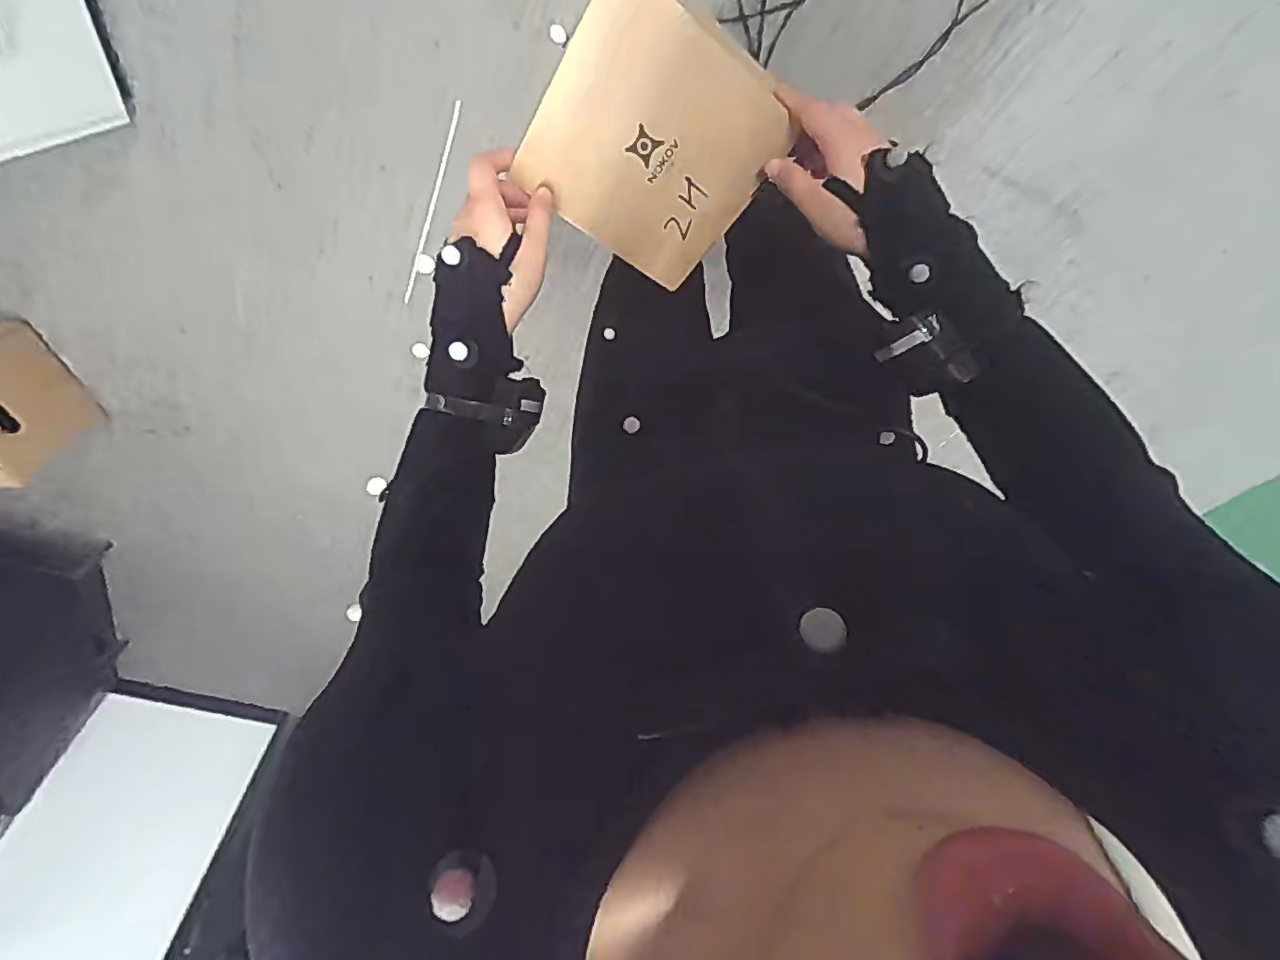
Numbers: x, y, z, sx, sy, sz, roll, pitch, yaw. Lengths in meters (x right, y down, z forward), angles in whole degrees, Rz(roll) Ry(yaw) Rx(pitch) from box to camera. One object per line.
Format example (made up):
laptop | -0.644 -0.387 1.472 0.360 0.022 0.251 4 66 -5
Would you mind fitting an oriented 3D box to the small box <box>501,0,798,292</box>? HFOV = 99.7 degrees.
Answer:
small box | 0.005 -0.310 0.473 0.179 0.176 0.168 26 133 -26
